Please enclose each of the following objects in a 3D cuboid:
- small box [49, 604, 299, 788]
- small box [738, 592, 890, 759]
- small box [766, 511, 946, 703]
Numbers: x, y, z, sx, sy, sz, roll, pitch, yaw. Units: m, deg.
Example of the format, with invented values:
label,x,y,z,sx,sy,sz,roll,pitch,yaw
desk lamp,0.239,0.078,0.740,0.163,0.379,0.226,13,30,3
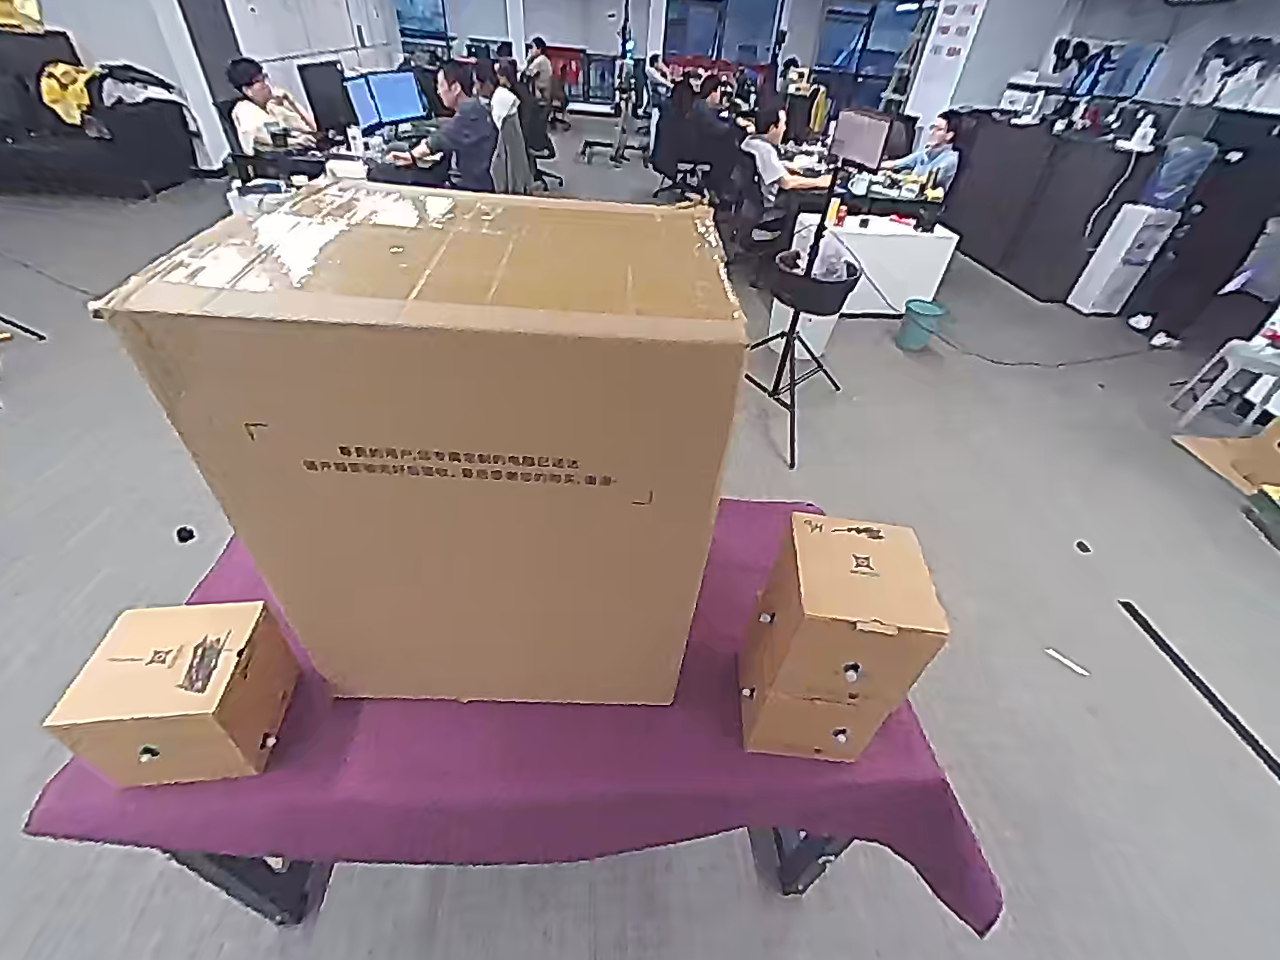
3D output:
label,x,y,z,sx,sy,sz,roll,pitch,yaw
small box,-0.596,0.289,0.729,0.179,0.176,0.168,-1,38,-10
small box,0.249,0.297,0.822,0.168,0.176,0.179,6,38,0
small box,0.269,0.169,0.721,0.168,0.176,0.179,9,40,3
